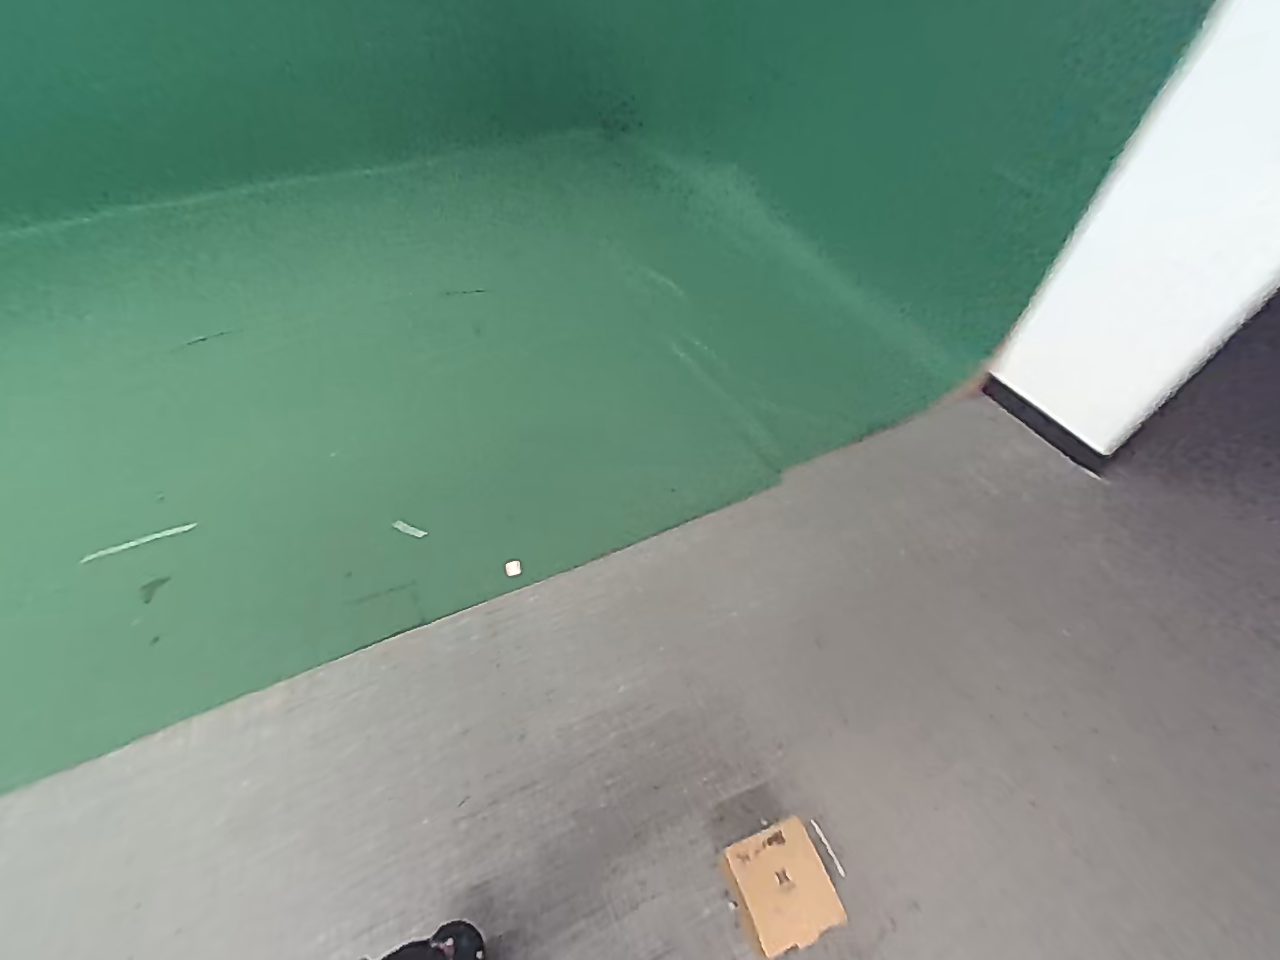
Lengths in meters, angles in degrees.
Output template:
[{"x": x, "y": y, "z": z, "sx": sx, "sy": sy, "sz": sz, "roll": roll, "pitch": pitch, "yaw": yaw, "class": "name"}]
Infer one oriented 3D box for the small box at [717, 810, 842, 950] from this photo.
[{"x": 0.267, "y": 0.791, "z": 1.079, "sx": 0.168, "sy": 0.176, "sz": 0.179, "roll": -16, "pitch": 53, "yaw": -12, "class": "small box"}]
